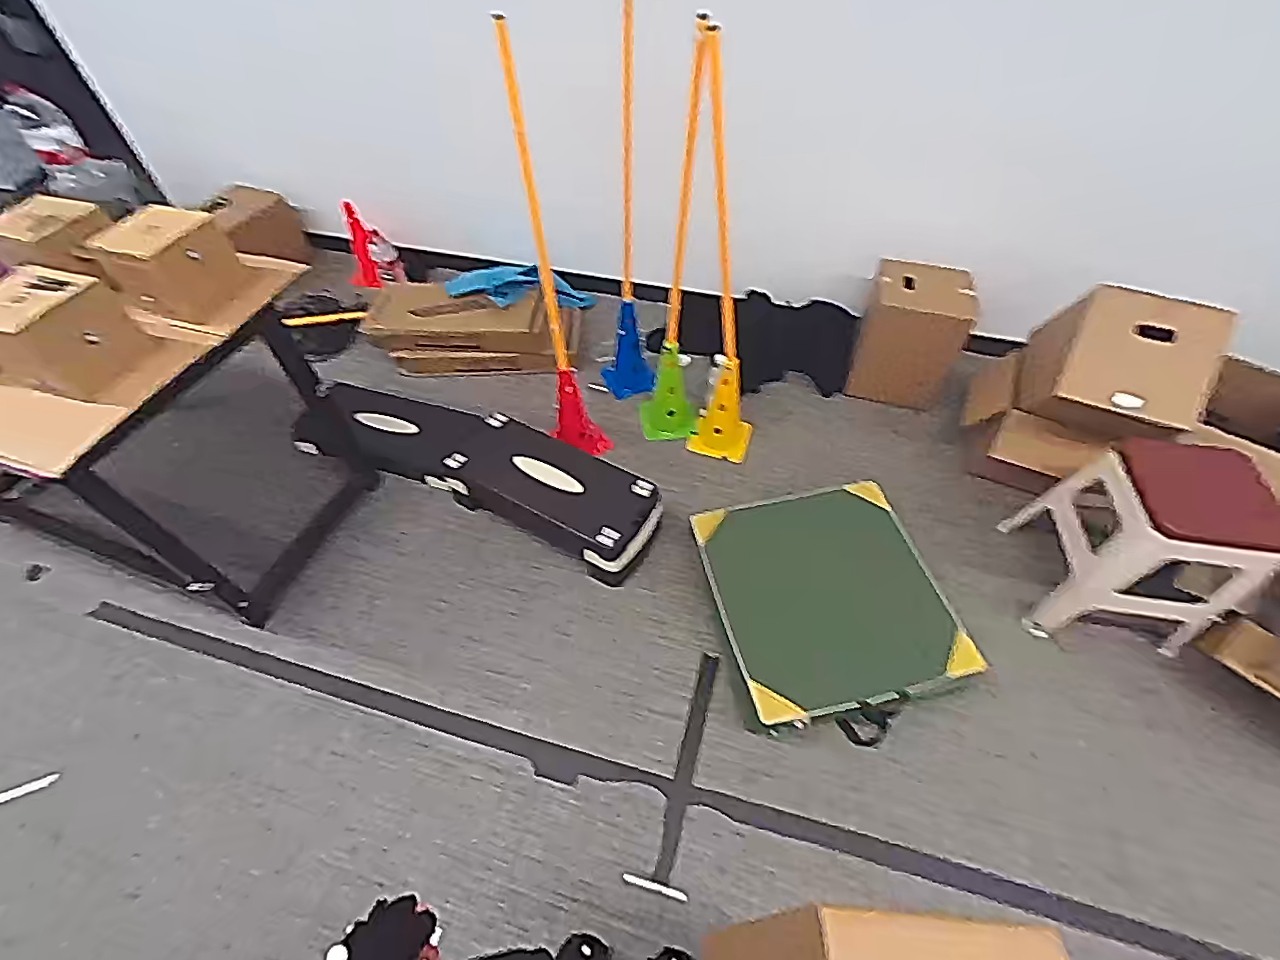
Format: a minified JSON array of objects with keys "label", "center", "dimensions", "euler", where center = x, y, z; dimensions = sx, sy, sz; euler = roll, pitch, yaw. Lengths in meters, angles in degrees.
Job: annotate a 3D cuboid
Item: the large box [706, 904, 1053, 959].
[{"label":"large box","center":[0.293,0.753,0.659],"dimensions":[0.320,0.408,0.320],"euler":[13,44,-7]}]
